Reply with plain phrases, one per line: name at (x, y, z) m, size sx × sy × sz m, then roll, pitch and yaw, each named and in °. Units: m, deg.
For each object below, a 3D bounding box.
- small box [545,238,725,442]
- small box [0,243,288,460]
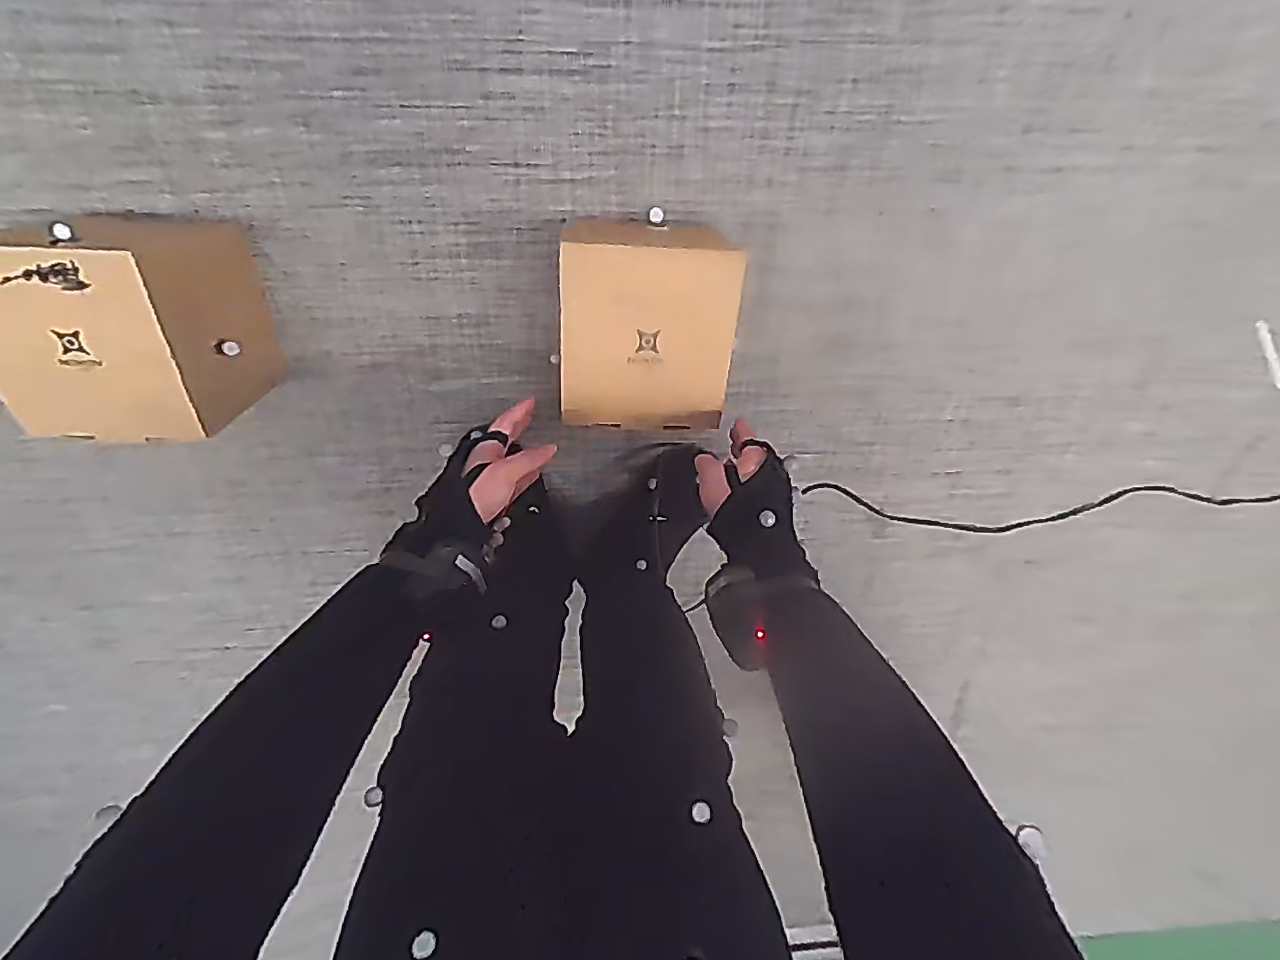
small box at (-0.011, -0.157, 0.593) m, size 0.168 × 0.176 × 0.179 m, roll -1°, pitch 121°, yaw -4°
small box at (-0.510, -0.138, 0.566) m, size 0.168 × 0.176 × 0.179 m, roll 0°, pitch 122°, yaw -4°
